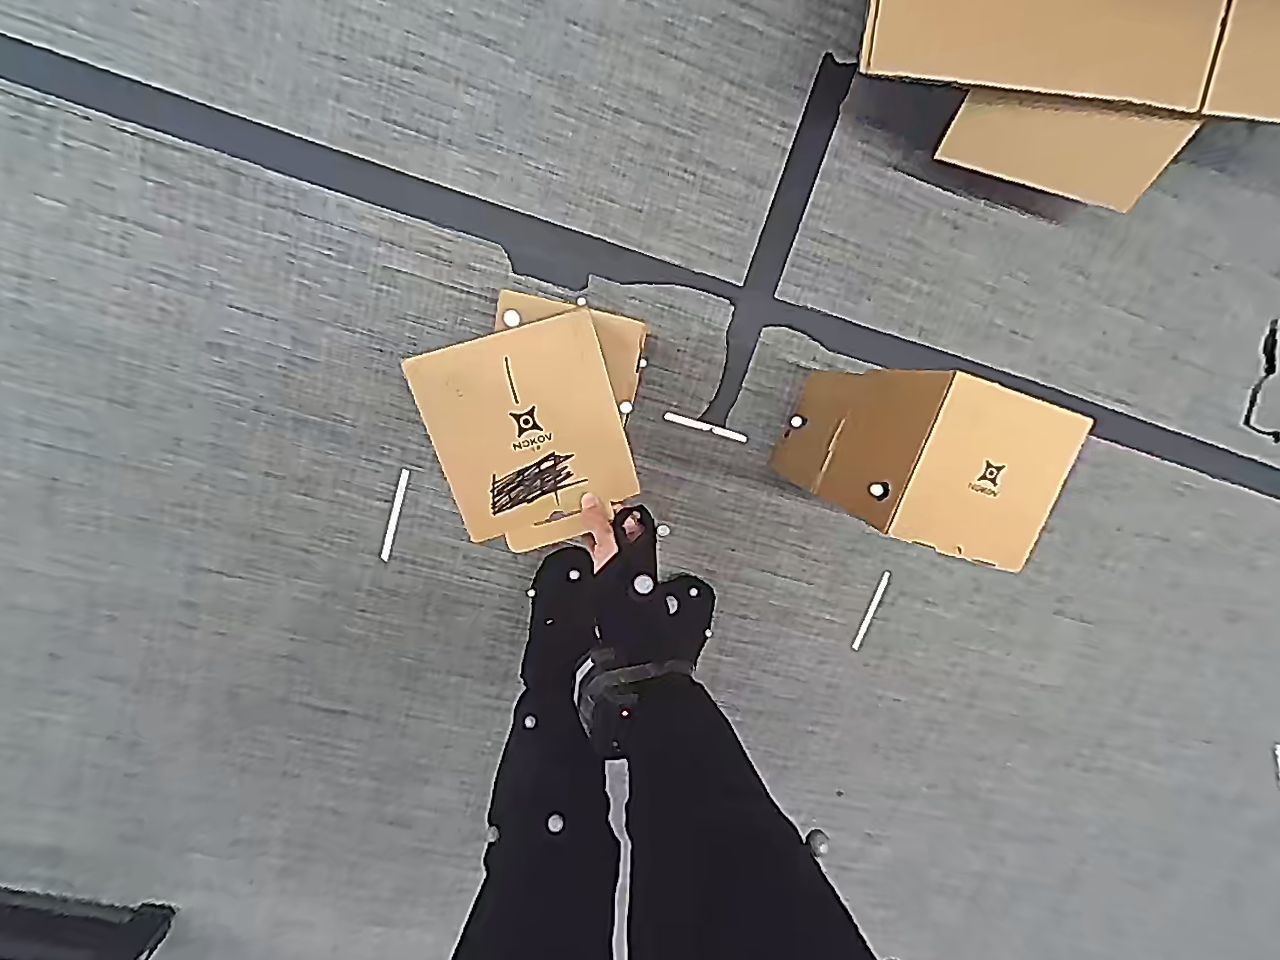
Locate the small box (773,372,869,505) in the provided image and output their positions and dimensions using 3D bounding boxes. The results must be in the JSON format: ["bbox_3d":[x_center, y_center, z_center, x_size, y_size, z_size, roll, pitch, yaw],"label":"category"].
[{"bbox_3d":[0.323,-0.051,0.780,0.179,0.176,0.168,20,100,-11],"label":"small box"}]

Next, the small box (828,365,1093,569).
[{"bbox_3d":[0.344,-0.026,0.621,0.168,0.176,0.179,16,102,-10],"label":"small box"}]

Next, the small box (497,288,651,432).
[{"bbox_3d":[-0.095,-0.143,0.715,0.179,0.176,0.168,11,101,-7],"label":"small box"}]

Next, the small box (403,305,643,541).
[{"bbox_3d":[-0.104,-0.068,0.545,0.168,0.176,0.179,-18,108,-3],"label":"small box"}]
